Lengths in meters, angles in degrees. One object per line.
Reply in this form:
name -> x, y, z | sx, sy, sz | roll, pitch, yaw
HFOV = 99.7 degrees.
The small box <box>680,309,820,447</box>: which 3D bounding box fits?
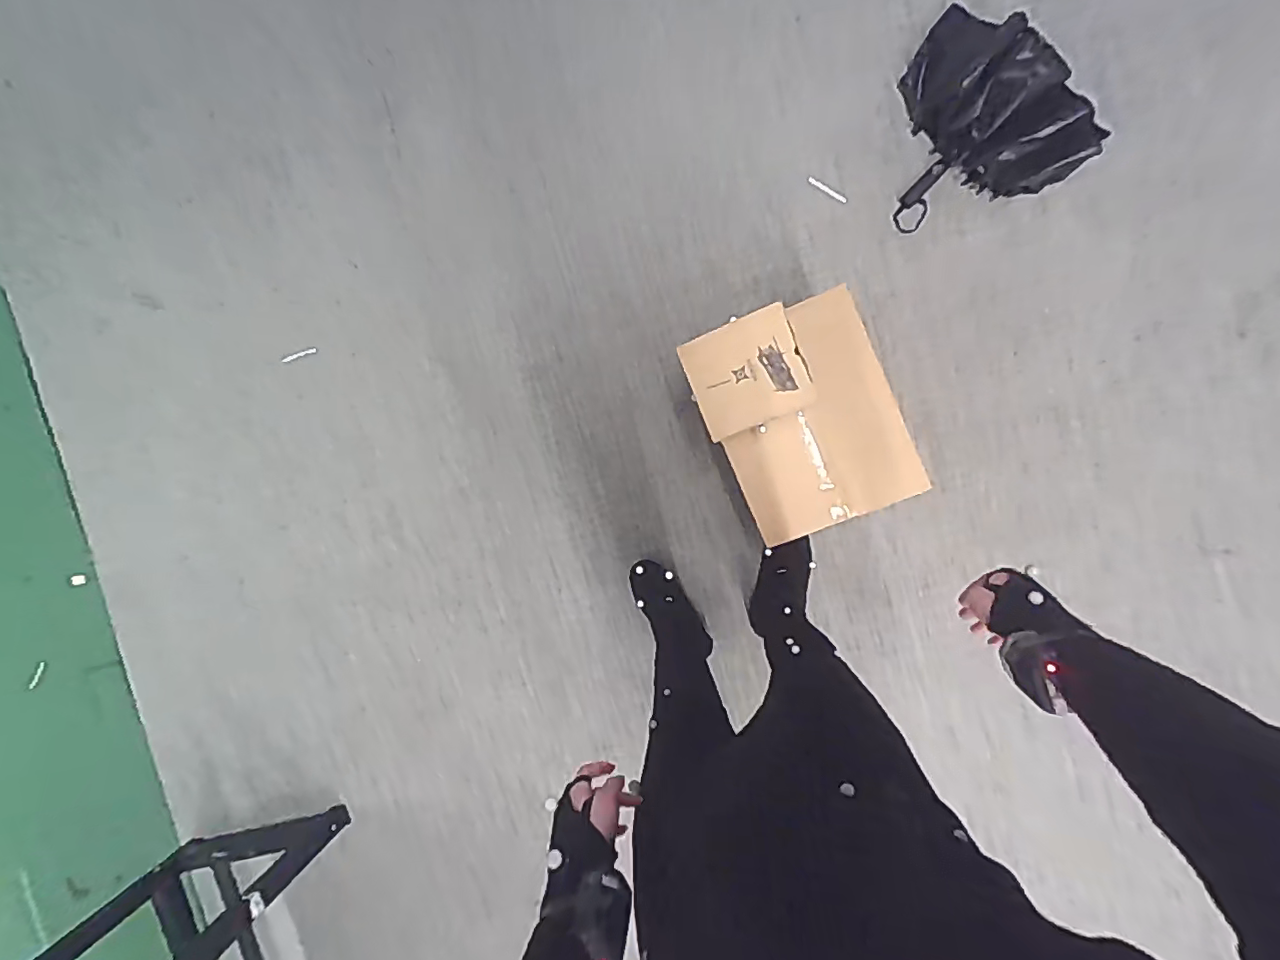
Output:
small box -> 0.186, -0.166, 0.920 | 0.179, 0.176, 0.168 | -21, 90, 15
